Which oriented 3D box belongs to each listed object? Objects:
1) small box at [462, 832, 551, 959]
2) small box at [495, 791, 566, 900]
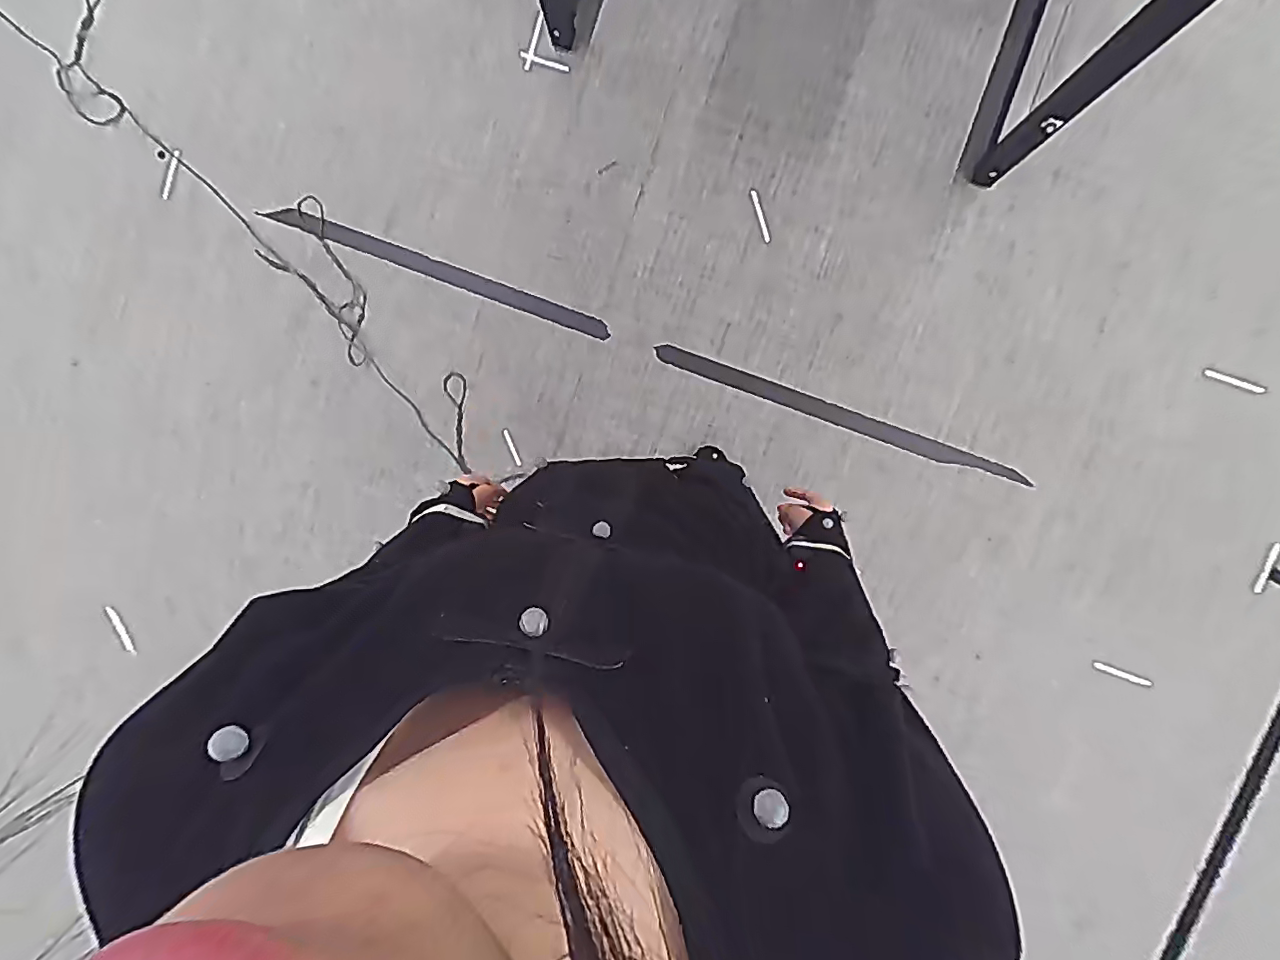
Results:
[{"bbox_3d":[-0.316,1.001,1.308,0.168,0.176,0.179,6,94,1],"label":"small box"},{"bbox_3d":[-0.300,0.985,1.472,0.168,0.176,0.179,6,94,2],"label":"small box"}]
